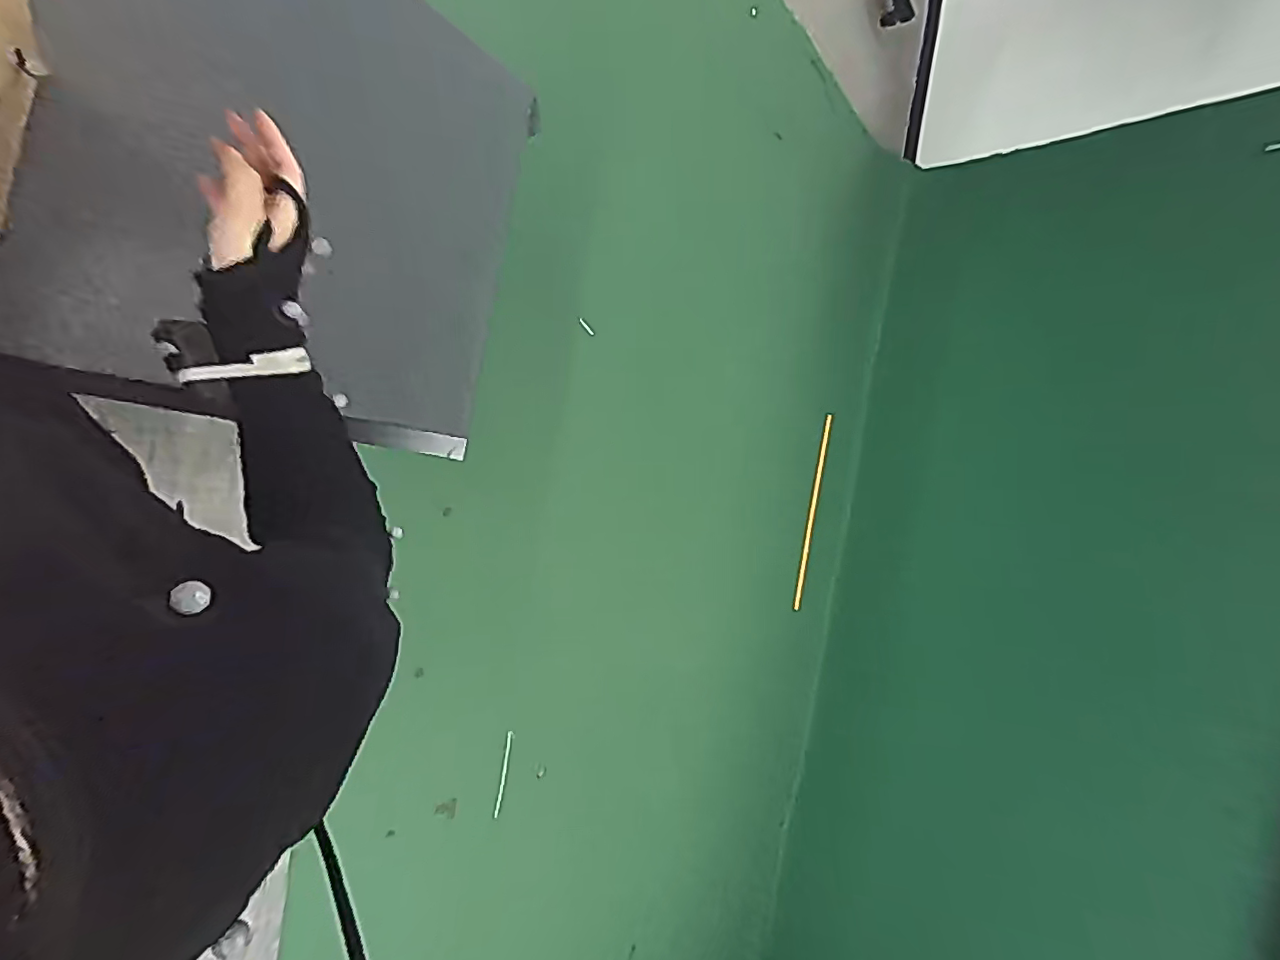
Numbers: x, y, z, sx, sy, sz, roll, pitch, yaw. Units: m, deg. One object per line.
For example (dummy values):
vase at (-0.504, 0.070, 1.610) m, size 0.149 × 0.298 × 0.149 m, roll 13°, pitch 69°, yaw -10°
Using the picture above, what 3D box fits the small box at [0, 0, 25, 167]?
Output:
small box at (-0.571, -0.314, 0.377) m, size 0.168 × 0.176 × 0.179 m, roll 14°, pitch 88°, yaw -47°
